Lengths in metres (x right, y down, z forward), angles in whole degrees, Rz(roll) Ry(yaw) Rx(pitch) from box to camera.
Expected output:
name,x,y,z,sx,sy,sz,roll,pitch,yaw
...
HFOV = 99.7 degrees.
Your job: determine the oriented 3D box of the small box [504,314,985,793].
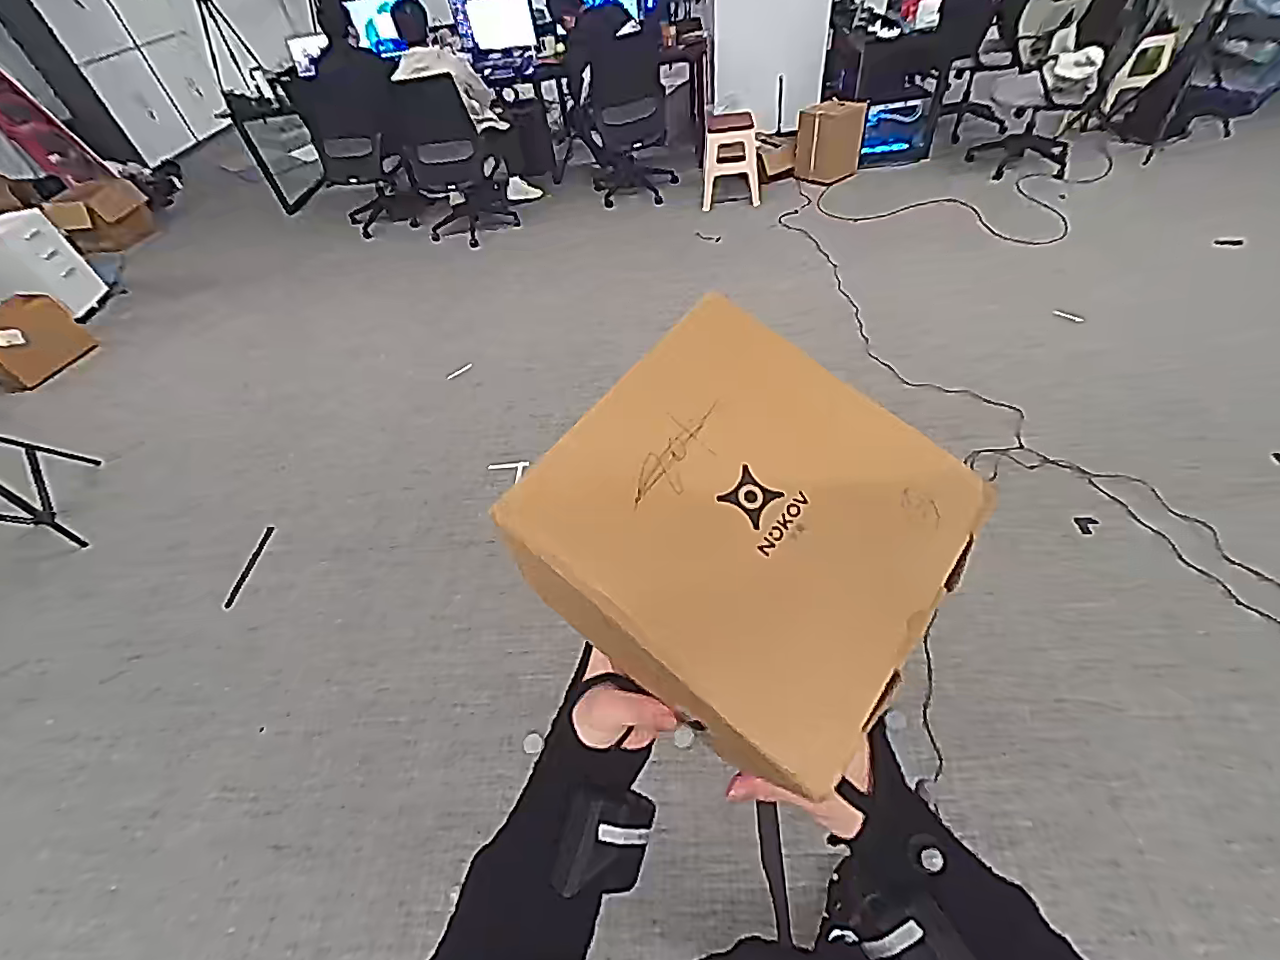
name,x,y,z,sx,sy,sz,roll,pitch,yaw
small box,0.048,0.046,0.327,0.179,0.176,0.168,37,68,10
